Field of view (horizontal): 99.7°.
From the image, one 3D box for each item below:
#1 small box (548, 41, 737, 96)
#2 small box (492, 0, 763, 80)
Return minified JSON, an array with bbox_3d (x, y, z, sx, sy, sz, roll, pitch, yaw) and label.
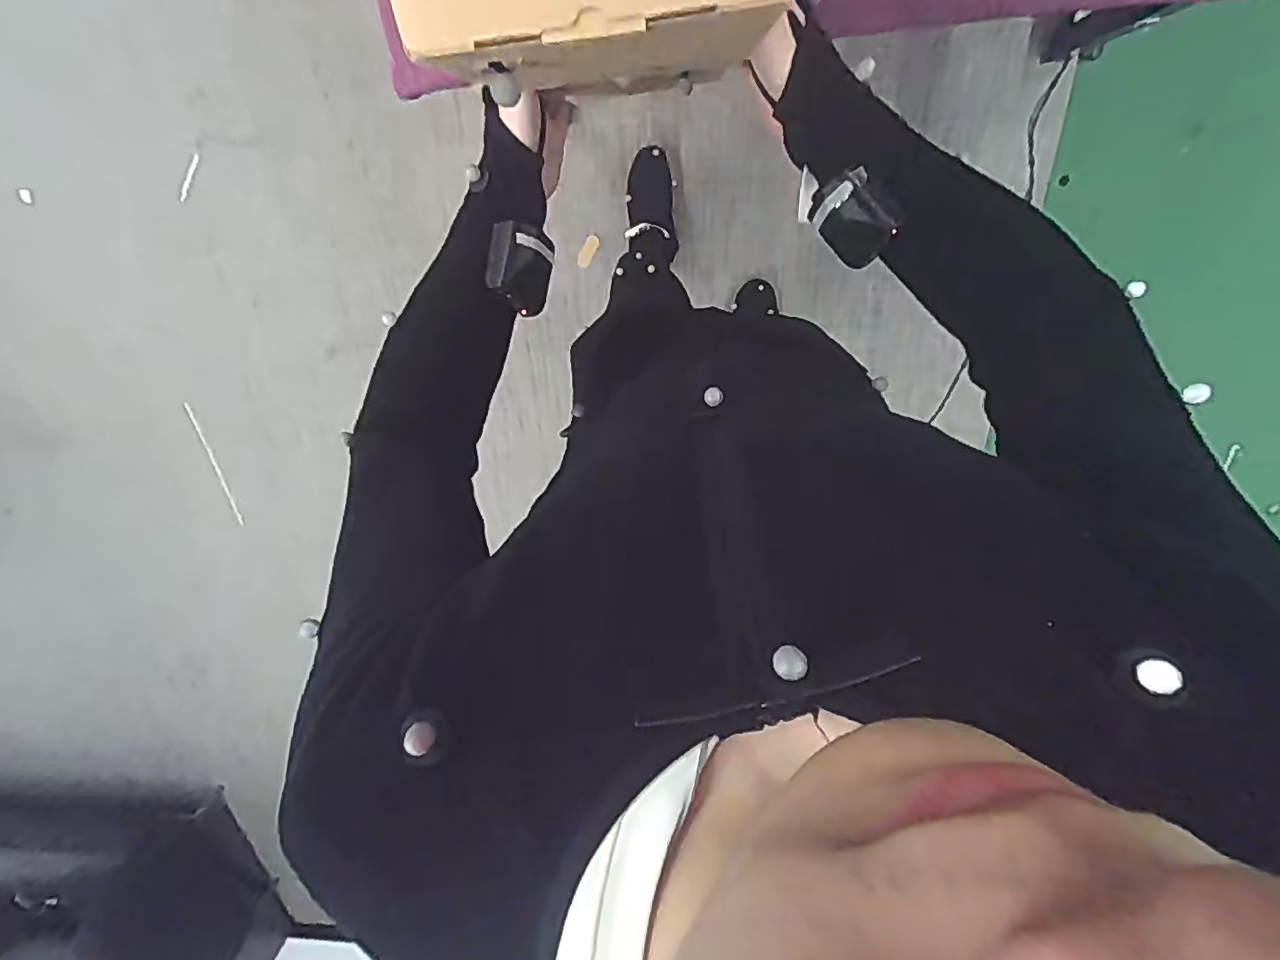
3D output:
[{"bbox_3d":[-0.005,-0.485,0.521,0.179,0.176,0.168,-4,121,7],"label":"small box"},{"bbox_3d":[-0.012,-0.401,0.383,0.179,0.176,0.168,-5,122,8],"label":"small box"}]
